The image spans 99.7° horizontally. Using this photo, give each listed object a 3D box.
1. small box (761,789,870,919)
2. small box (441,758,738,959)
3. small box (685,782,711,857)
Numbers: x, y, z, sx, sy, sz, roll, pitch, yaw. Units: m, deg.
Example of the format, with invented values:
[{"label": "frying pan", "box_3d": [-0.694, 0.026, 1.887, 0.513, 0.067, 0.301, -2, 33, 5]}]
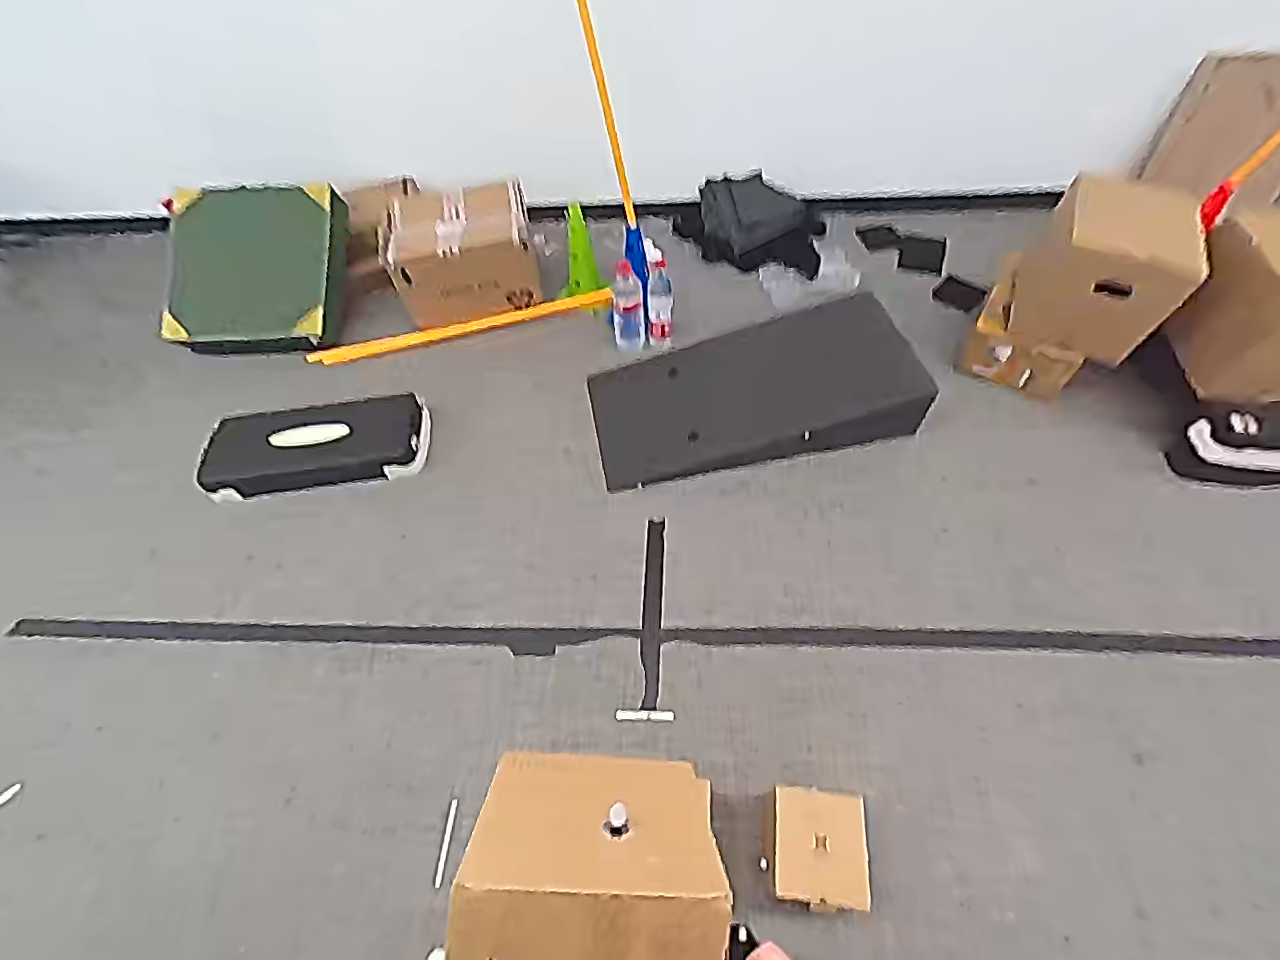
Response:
[{"label": "small box", "box_3d": [0.332, 0.718, 1.047, 0.168, 0.176, 0.179, 6, 56, 6]}, {"label": "small box", "box_3d": [-0.043, 0.327, 0.397, 0.179, 0.176, 0.168, 6, 87, -6]}, {"label": "small box", "box_3d": [0.051, 0.700, 1.070, 0.168, 0.176, 0.179, 3, 55, 5]}]
